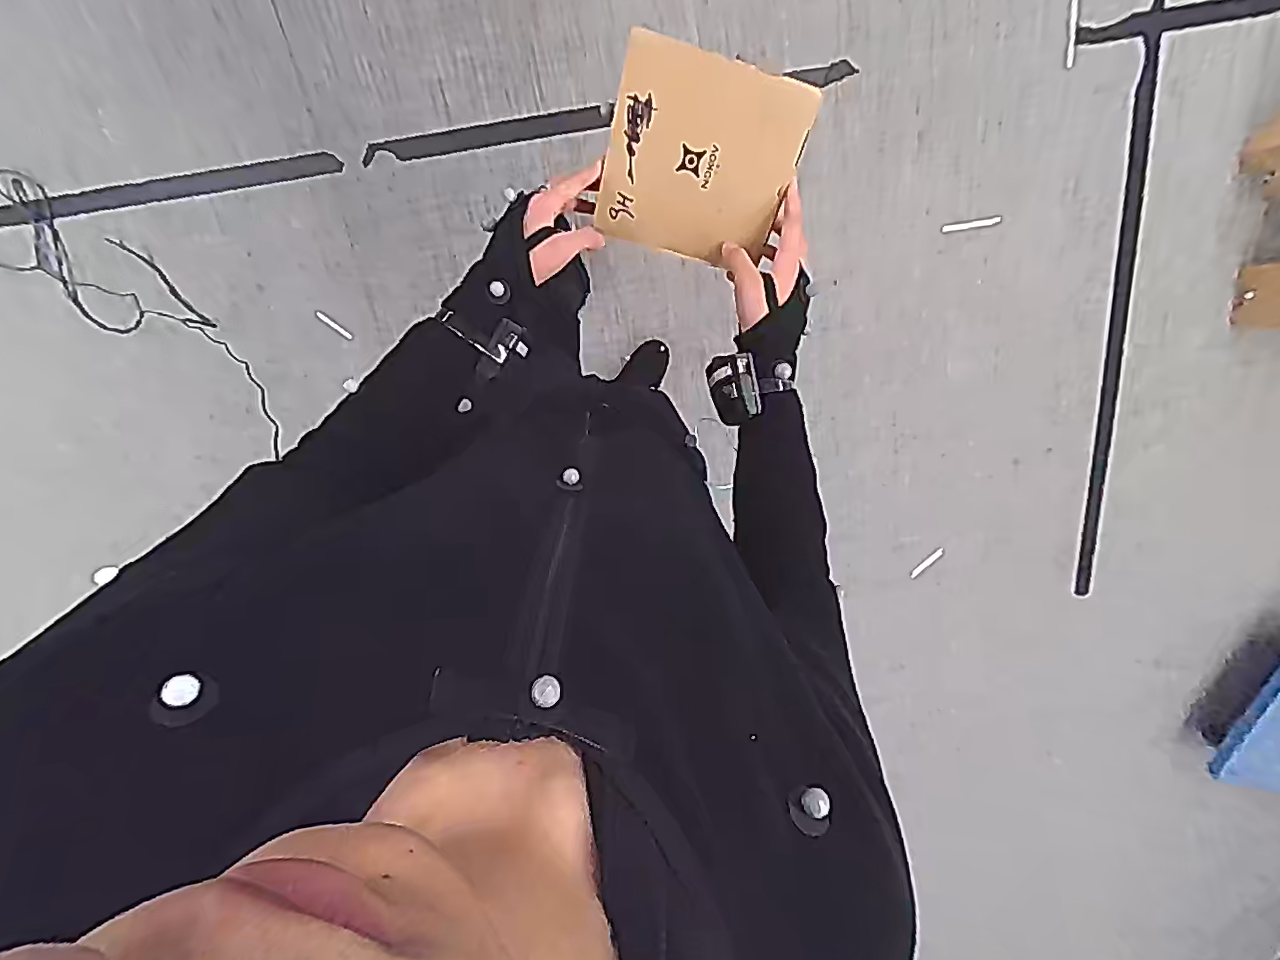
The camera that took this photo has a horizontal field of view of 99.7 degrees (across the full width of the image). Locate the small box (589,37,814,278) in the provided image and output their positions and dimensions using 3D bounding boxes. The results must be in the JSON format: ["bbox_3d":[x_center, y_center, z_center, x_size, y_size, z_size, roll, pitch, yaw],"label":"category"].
[{"bbox_3d":[0.056,-0.343,0.581,0.179,0.176,0.168,14,125,-7],"label":"small box"}]
